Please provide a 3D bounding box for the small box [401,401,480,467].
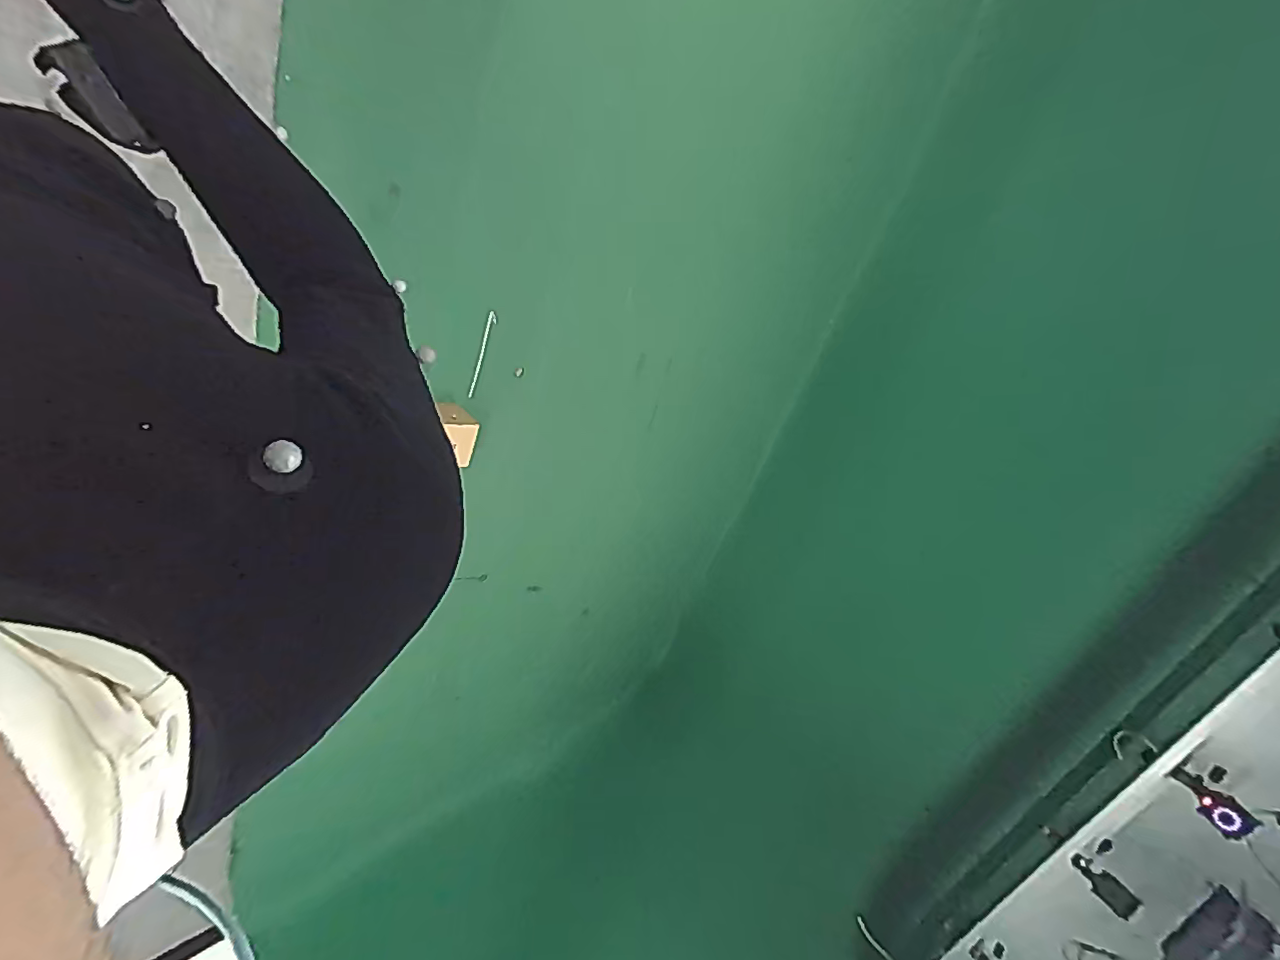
[{"bbox_3d":[-0.677,-0.156,1.832,0.179,0.176,0.168,-4,124,-49],"label":"small box"}]
